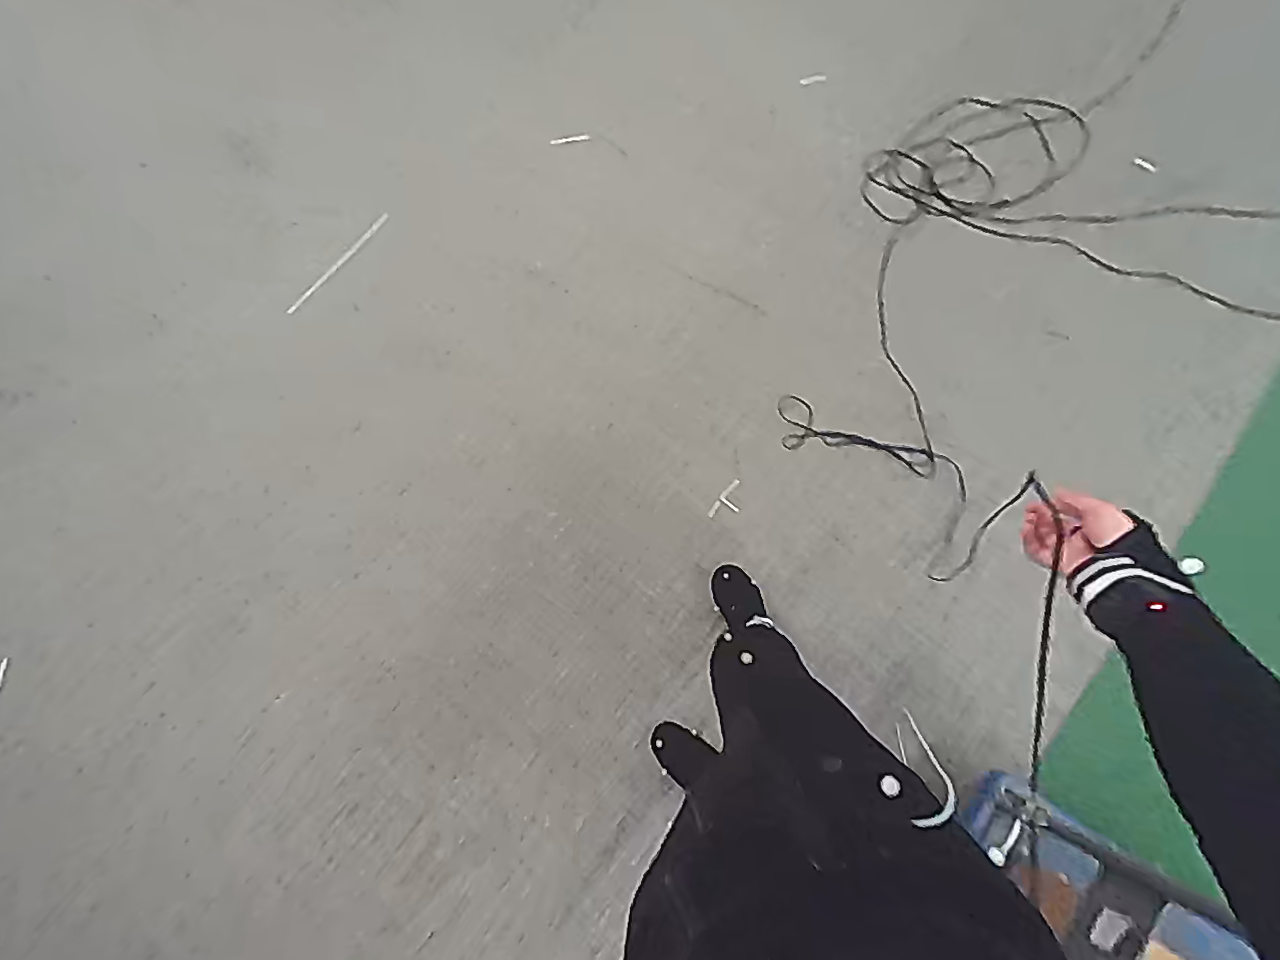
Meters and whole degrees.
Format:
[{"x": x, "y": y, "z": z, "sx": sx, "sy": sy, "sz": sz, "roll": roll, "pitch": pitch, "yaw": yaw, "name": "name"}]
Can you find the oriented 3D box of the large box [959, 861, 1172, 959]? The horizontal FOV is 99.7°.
[{"x": 0.827, "y": 0.967, "z": 0.906, "sx": 0.408, "sy": 0.320, "sz": 0.320, "roll": 37, "pitch": 80, "yaw": 12, "name": "large box"}]
